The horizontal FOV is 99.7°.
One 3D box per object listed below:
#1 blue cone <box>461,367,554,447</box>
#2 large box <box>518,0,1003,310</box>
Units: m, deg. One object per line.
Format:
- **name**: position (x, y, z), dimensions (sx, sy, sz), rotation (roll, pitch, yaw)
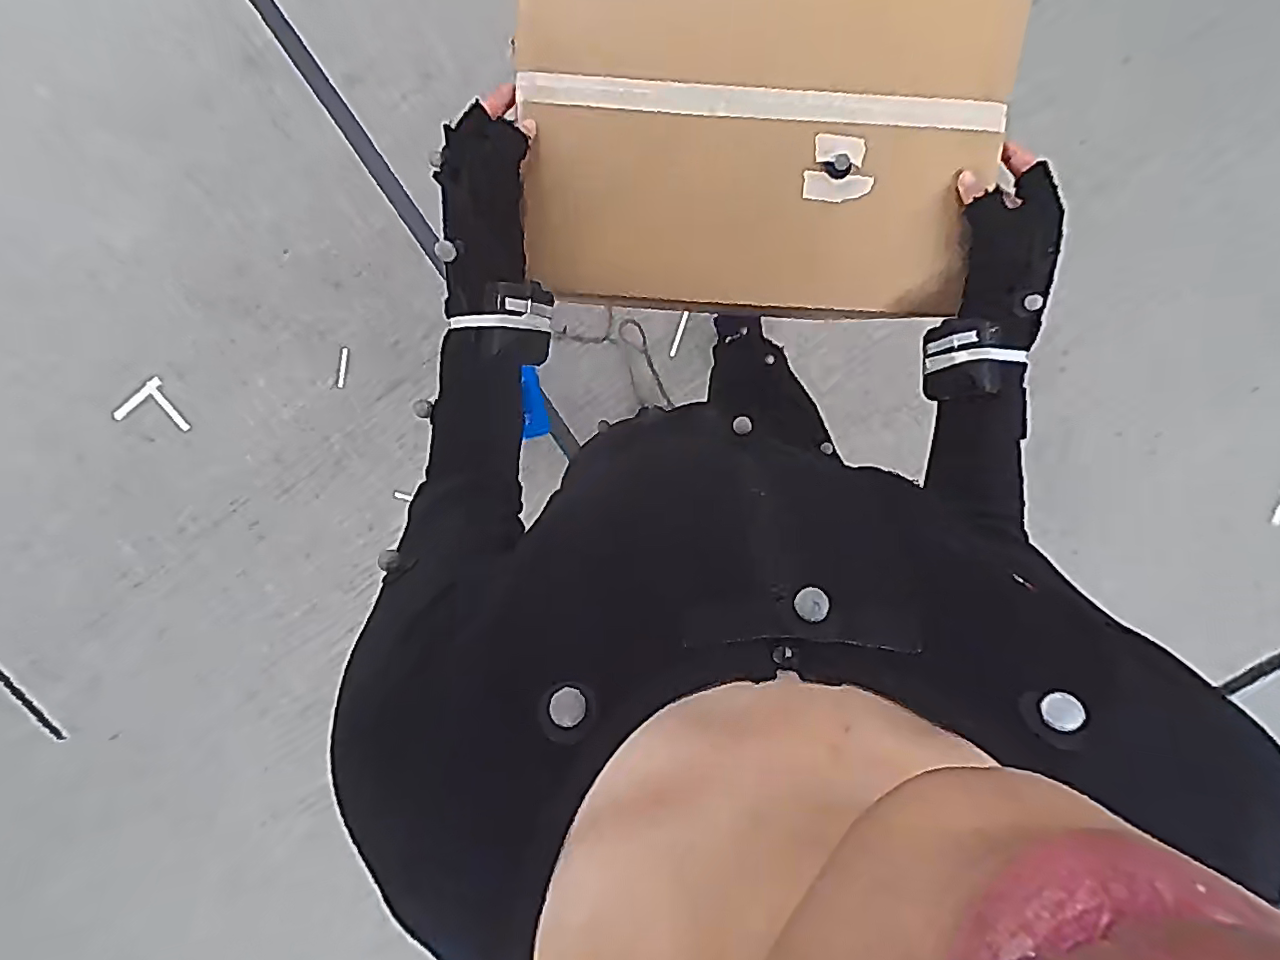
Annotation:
- **blue cone**: position (-0.350, -0.169, 1.302), dimensions (0.193, 0.380, 0.192), rotation (-13, 100, 5)
- **large box**: position (0.092, -0.363, 0.602), dimensions (0.408, 0.320, 0.320), rotation (2, 106, -2)
